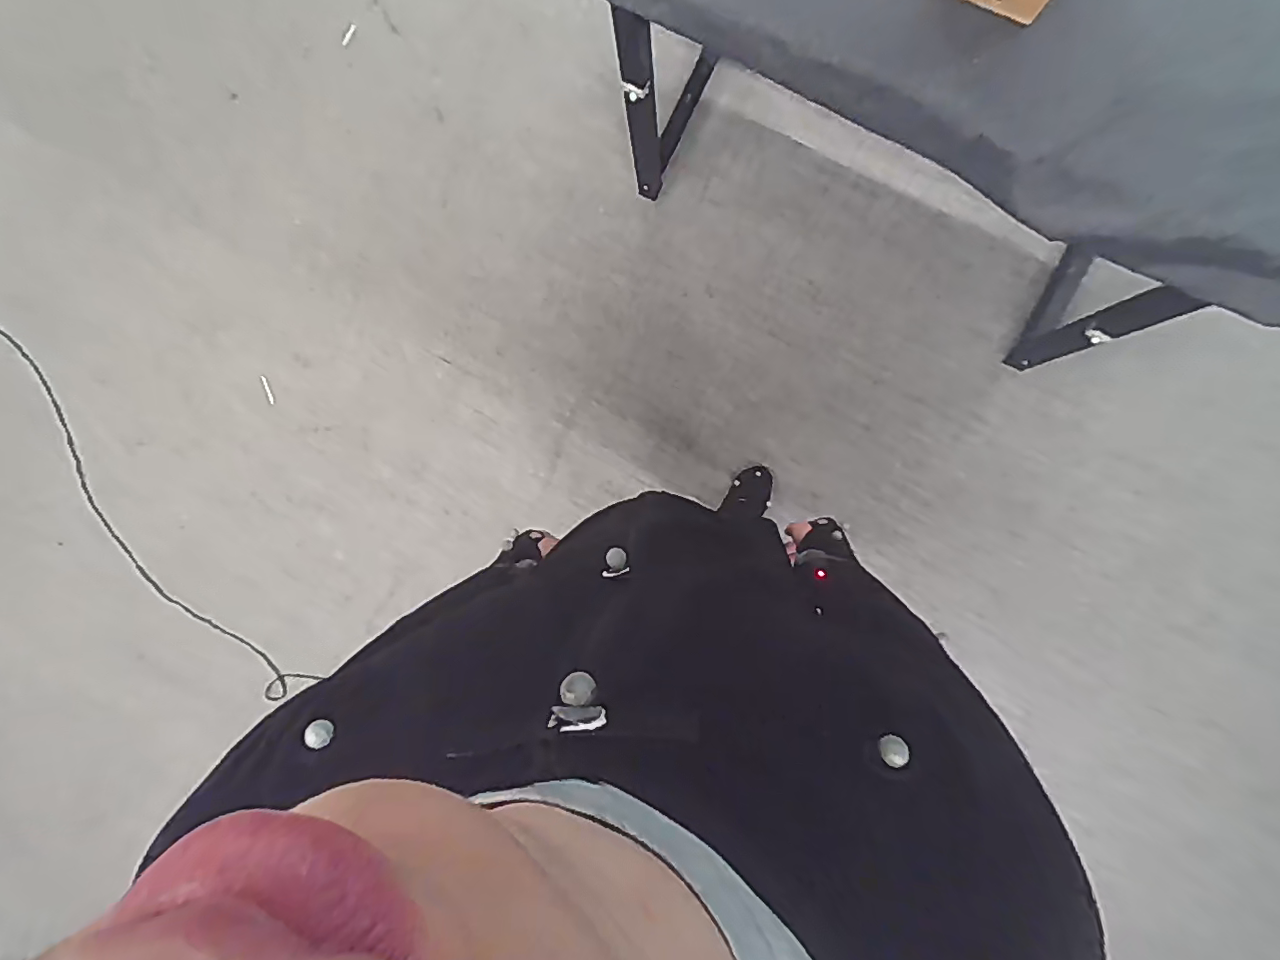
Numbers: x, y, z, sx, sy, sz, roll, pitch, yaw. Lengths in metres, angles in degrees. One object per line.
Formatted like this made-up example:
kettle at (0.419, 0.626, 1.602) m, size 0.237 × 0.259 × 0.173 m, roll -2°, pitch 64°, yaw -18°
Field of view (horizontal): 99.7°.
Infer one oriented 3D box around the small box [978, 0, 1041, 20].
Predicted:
small box at (0.528, -0.782, 0.720) m, size 0.168 × 0.176 × 0.179 m, roll 26°, pitch 91°, yaw 2°
